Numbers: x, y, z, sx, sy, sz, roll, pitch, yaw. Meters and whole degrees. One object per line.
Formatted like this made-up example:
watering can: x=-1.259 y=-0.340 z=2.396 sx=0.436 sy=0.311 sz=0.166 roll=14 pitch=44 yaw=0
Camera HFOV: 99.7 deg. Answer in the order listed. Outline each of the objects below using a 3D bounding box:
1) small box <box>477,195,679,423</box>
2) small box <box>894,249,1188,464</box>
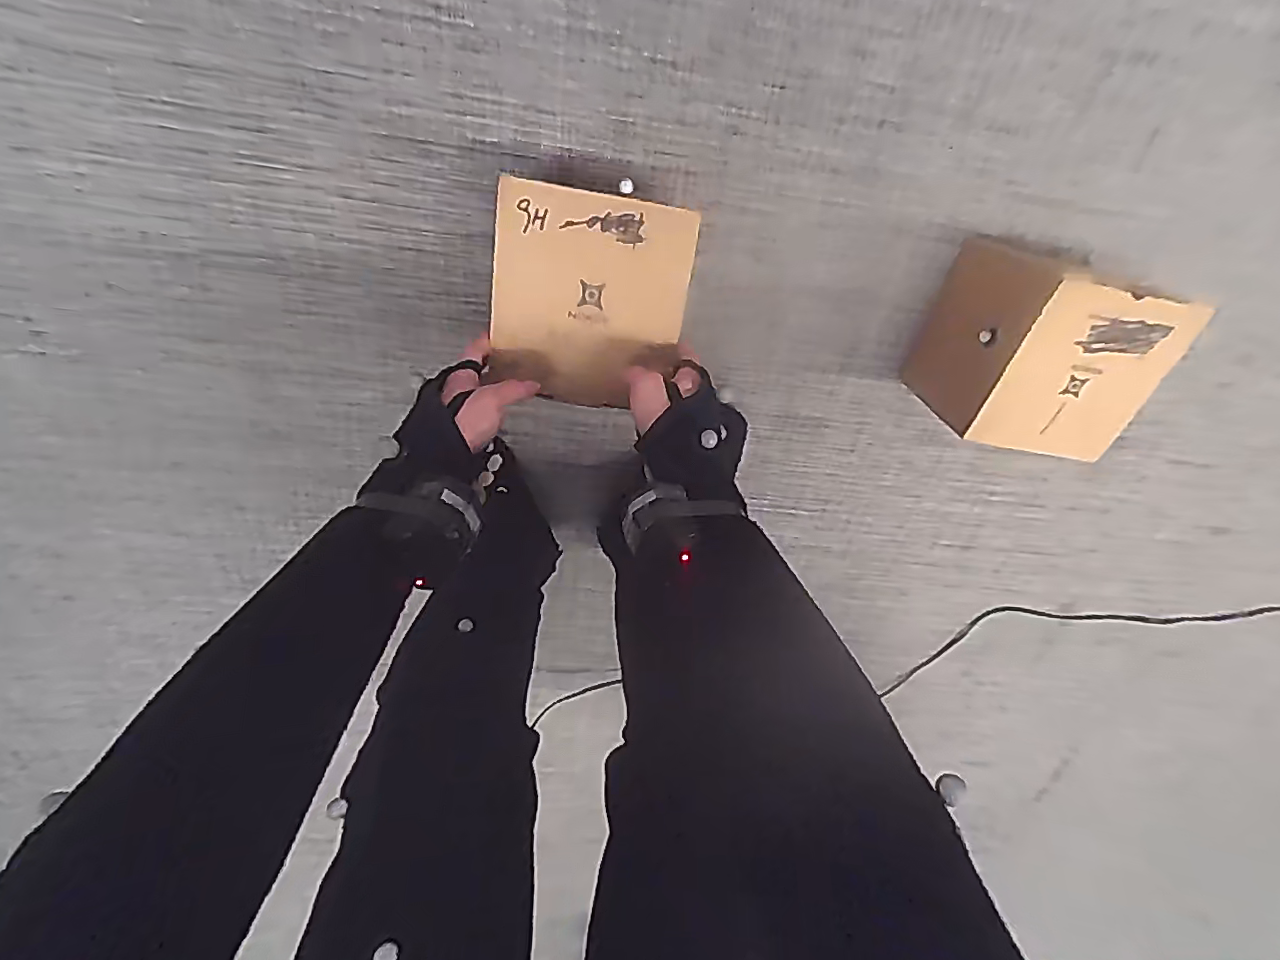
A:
small box: x=-0.061 y=-0.176 z=0.549 sx=0.168 sy=0.176 sz=0.179 roll=7 pitch=114 yaw=-5
small box: x=0.422 y=-0.145 z=0.611 sx=0.168 sy=0.176 sz=0.179 roll=8 pitch=125 yaw=-7
